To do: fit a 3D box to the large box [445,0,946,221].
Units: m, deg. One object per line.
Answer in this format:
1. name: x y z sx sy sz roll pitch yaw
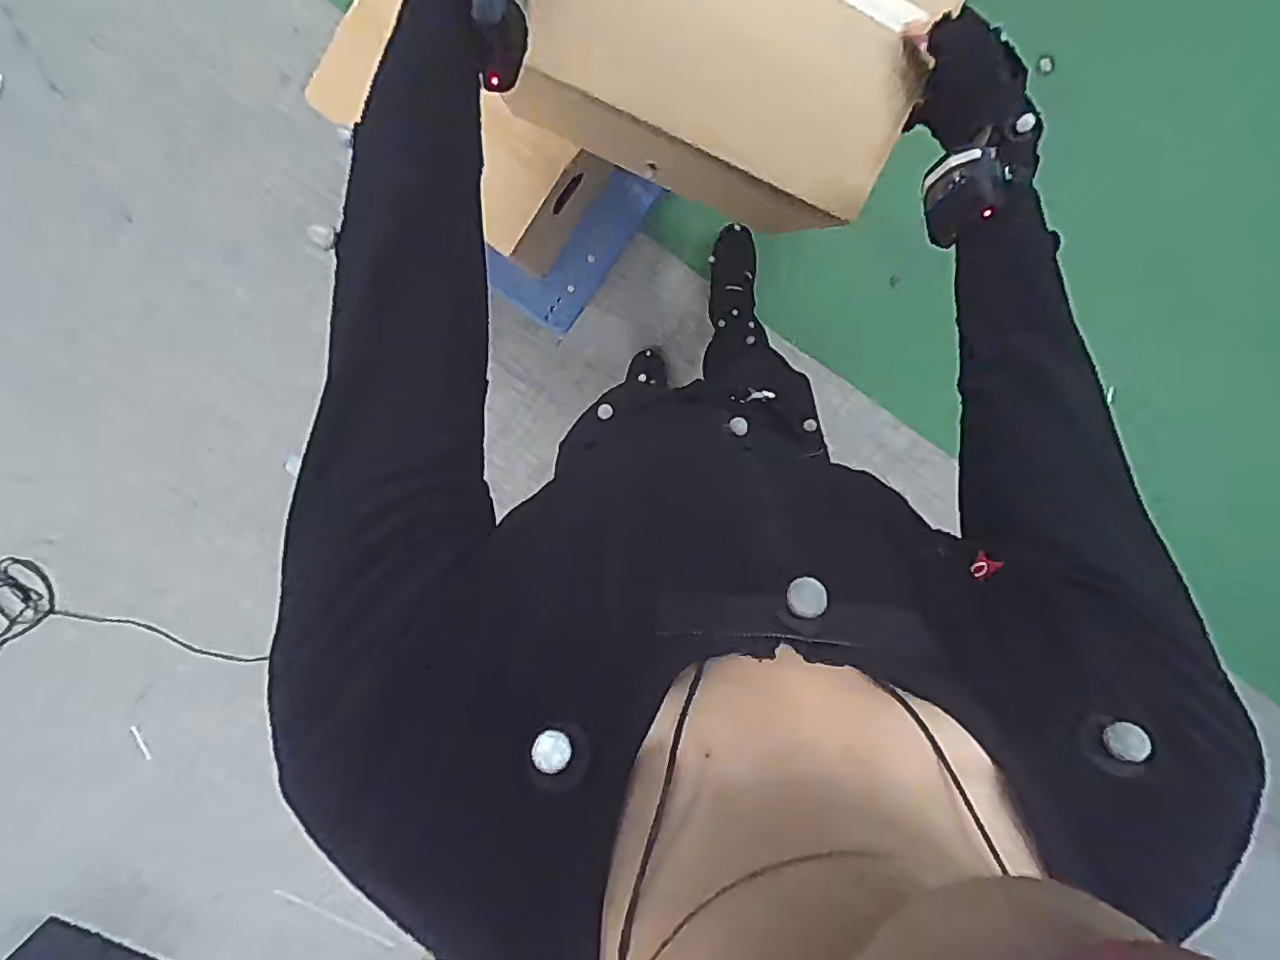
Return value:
1. large box: 0.065 -0.513 0.579 0.408 0.320 0.320 19 110 -11
